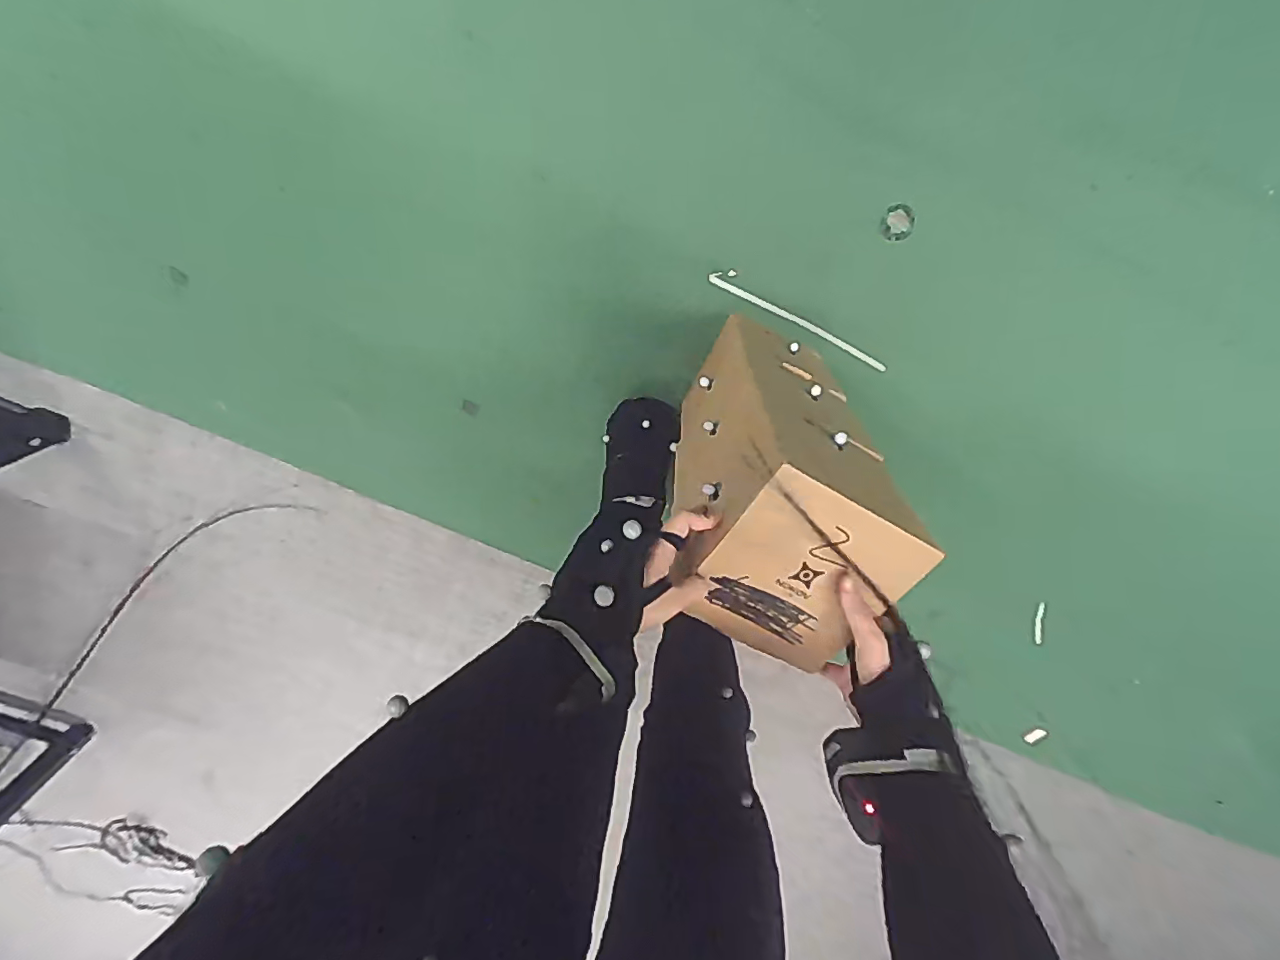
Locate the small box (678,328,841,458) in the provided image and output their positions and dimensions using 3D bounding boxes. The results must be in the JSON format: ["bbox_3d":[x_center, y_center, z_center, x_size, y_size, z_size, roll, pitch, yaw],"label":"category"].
[{"bbox_3d":[0.172,-0.104,0.826,0.168,0.176,0.179,25,118,-9],"label":"small box"}]

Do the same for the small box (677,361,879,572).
[{"bbox_3d":[0.157,-0.025,0.682,0.168,0.176,0.179,27,118,-10],"label":"small box"}]
